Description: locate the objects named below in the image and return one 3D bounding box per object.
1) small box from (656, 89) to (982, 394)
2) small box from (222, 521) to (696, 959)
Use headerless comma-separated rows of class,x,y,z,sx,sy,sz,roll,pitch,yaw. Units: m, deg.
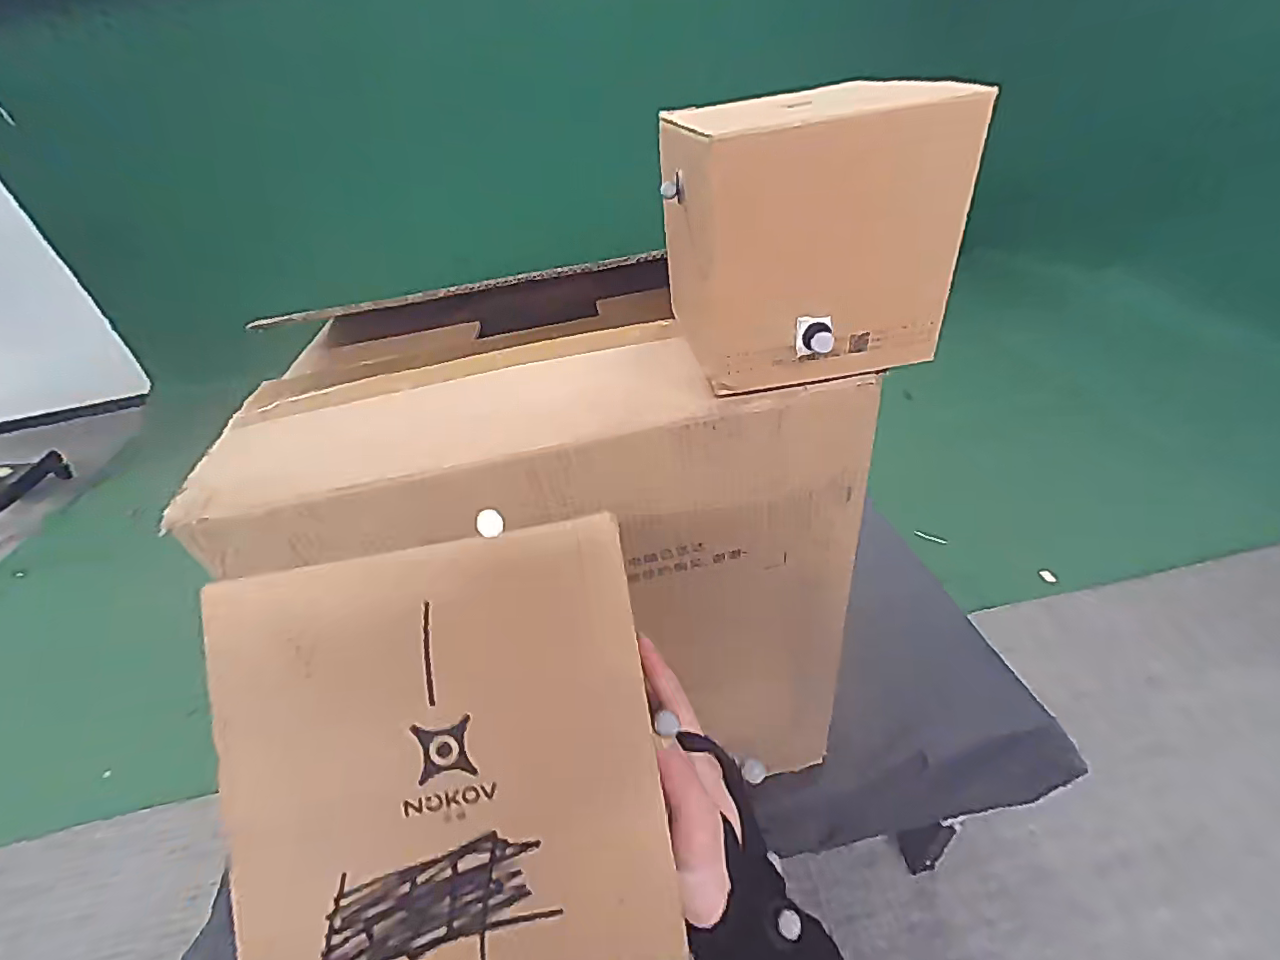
small box,0.113,-0.188,0.420,0.168,0.176,0.179,-12,39,-3
small box,-0.075,0.121,0.291,0.168,0.179,0.176,-10,-6,-5
